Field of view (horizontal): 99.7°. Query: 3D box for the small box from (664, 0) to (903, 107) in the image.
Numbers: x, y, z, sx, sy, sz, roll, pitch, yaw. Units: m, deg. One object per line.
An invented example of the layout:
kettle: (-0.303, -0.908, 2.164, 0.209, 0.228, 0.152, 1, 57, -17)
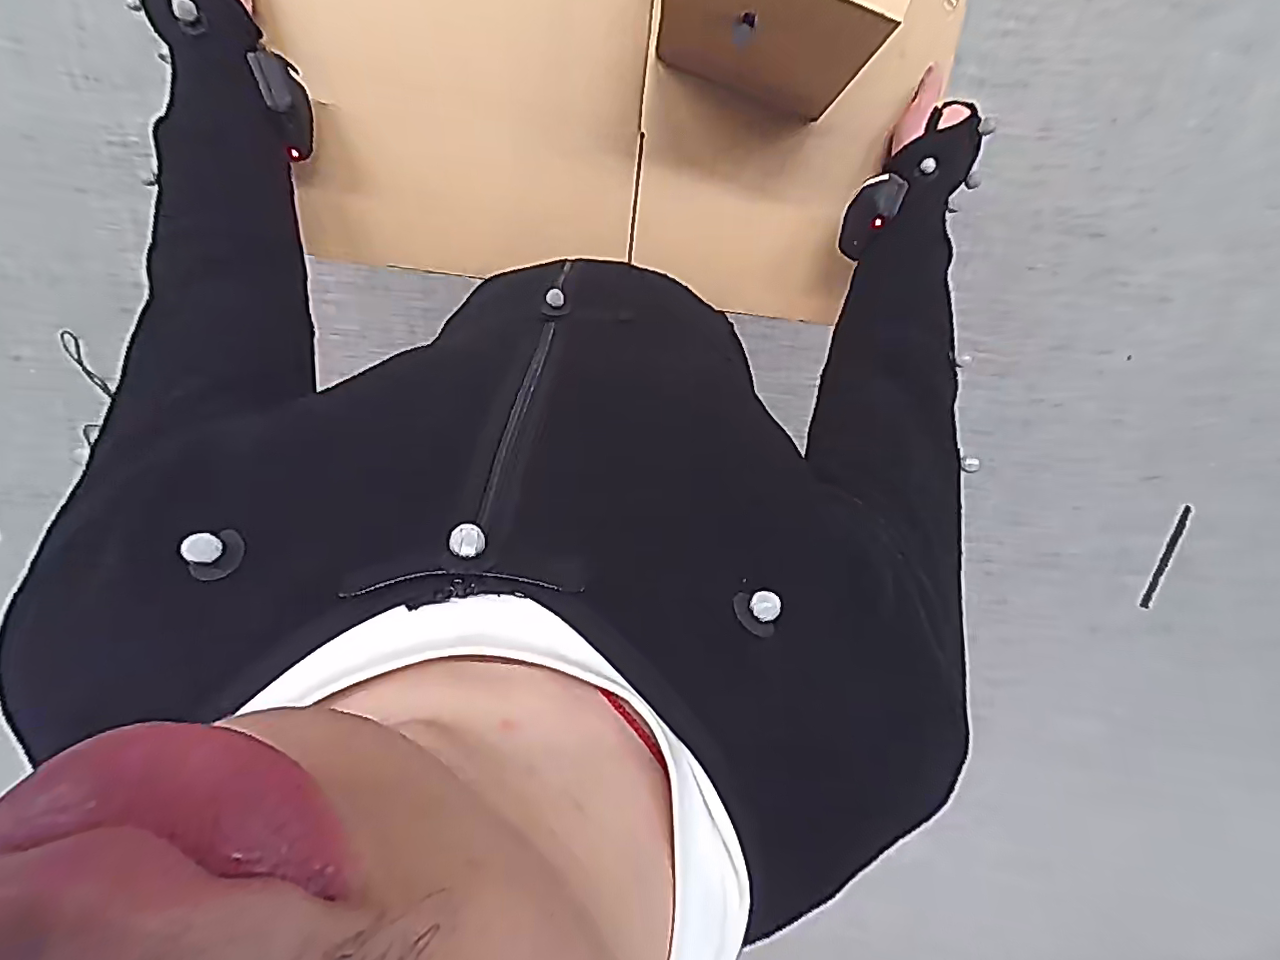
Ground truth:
small box: (0.124, -0.446, 0.440, 0.179, 0.176, 0.168, 17, 103, -5)
